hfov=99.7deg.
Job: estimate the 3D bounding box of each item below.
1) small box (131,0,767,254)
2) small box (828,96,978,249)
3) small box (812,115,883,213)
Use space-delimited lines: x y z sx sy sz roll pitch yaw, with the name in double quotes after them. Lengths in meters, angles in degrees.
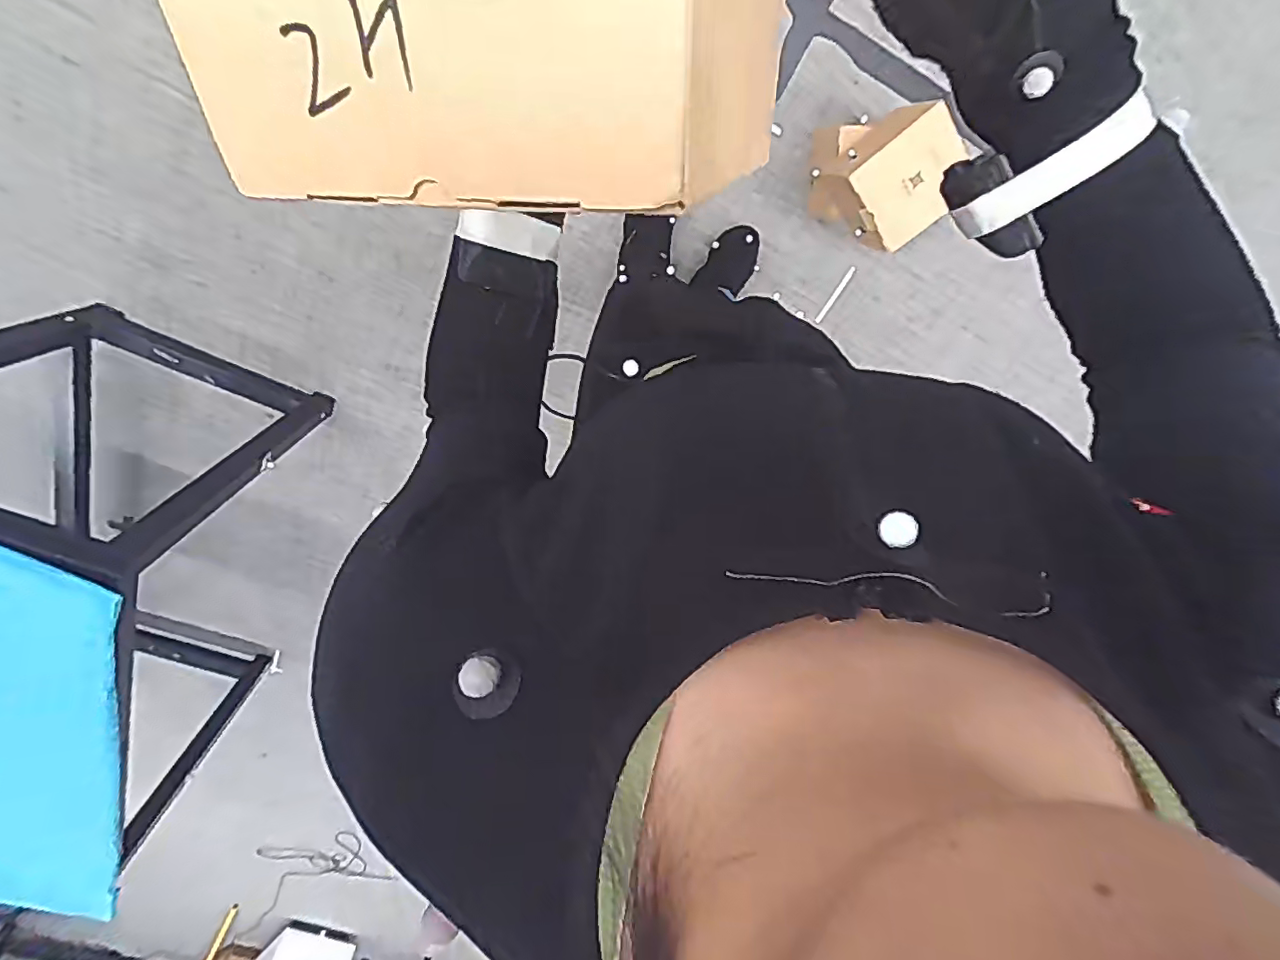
-0.047 -0.200 0.186 0.168 0.176 0.179 15 130 15 "small box"
0.470 -0.563 0.998 0.179 0.176 0.168 -35 117 19 "small box"
0.470 -0.661 1.132 0.179 0.176 0.168 -5 121 2 "small box"
